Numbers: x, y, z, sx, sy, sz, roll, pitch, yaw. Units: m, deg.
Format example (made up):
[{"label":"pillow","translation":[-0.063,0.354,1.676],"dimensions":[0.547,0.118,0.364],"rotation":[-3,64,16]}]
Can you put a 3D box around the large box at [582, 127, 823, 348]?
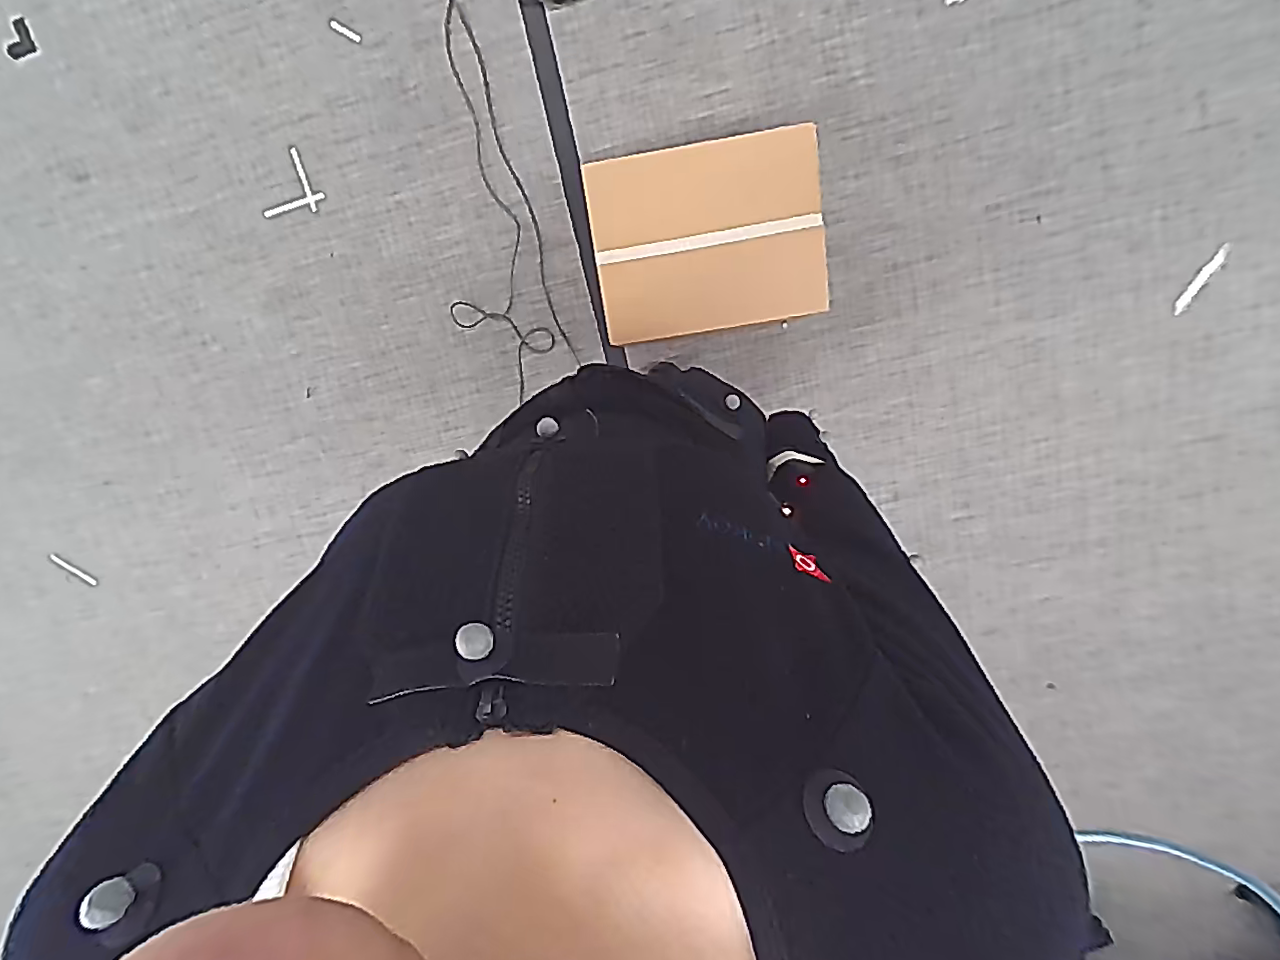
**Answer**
[{"label":"large box","translation":[0.122,-0.461,1.111],"dimensions":[0.408,0.320,0.320],"rotation":[-8,102,4]}]
